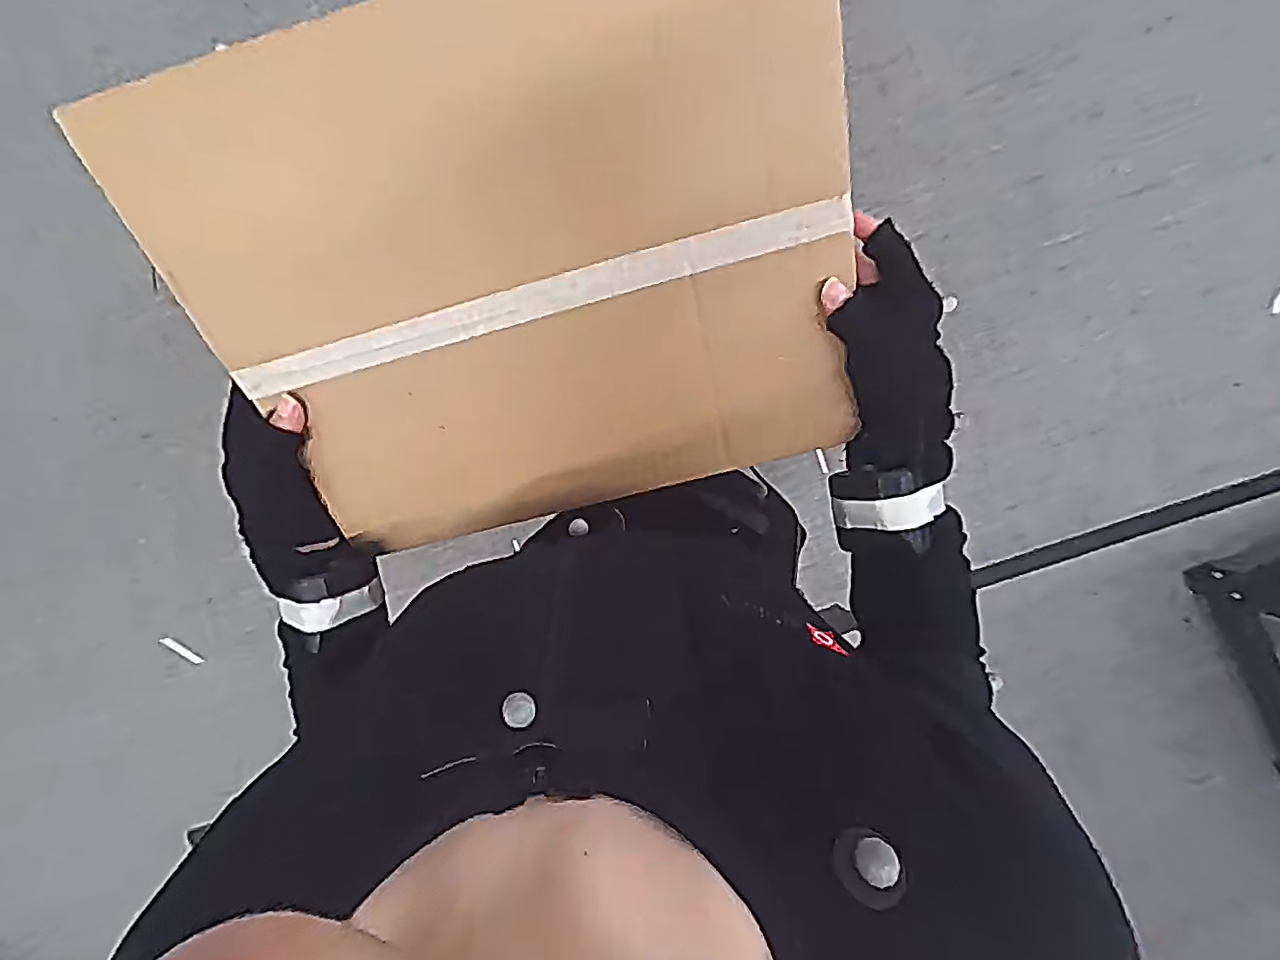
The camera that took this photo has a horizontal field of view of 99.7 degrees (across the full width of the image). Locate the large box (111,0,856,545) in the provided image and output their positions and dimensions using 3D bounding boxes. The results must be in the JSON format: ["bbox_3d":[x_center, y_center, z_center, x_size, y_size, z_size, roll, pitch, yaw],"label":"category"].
[{"bbox_3d":[-0.074,-0.194,0.479,0.408,0.320,0.320,-14,122,6],"label":"large box"}]
